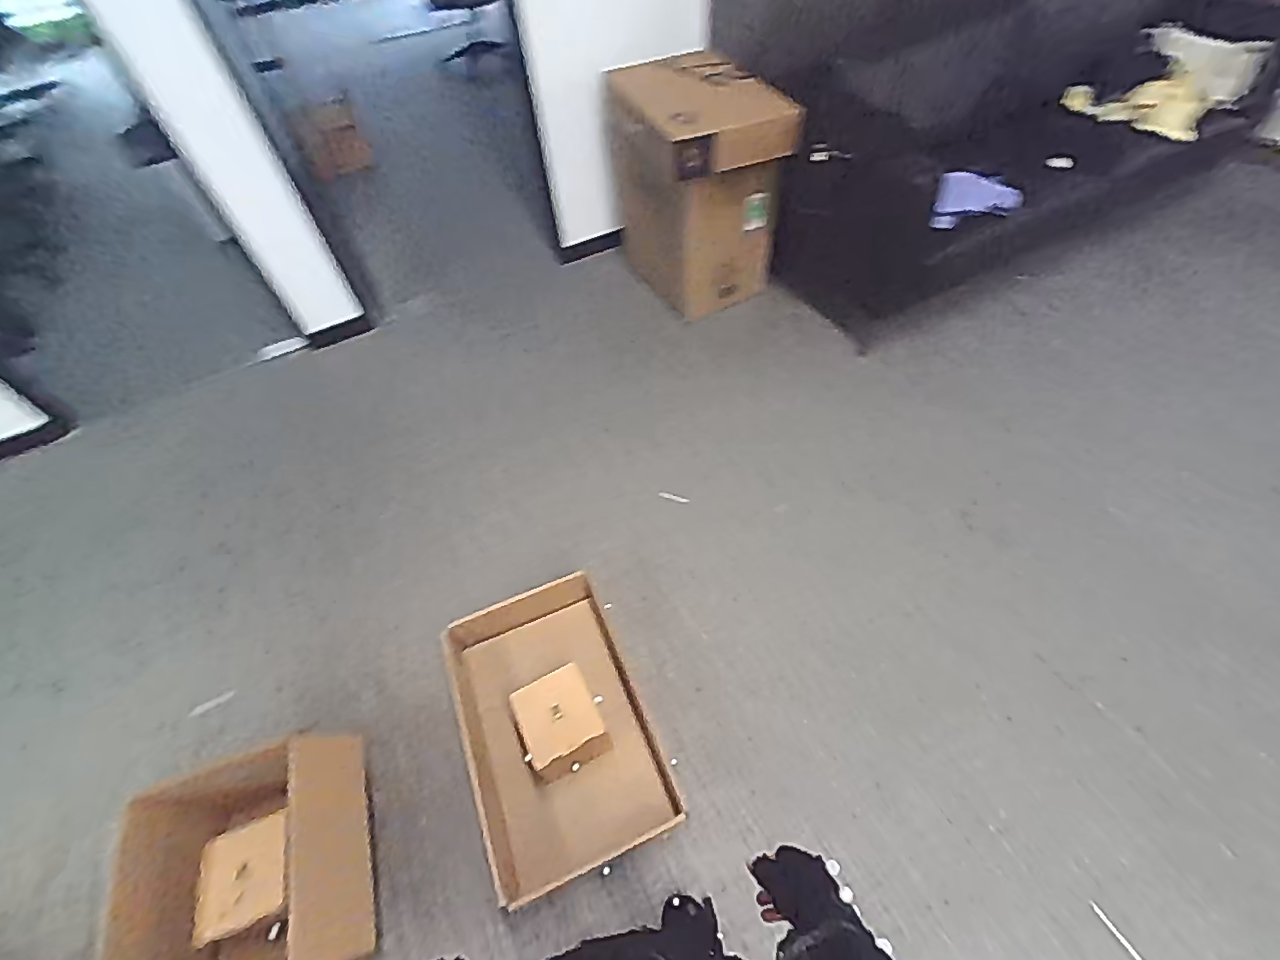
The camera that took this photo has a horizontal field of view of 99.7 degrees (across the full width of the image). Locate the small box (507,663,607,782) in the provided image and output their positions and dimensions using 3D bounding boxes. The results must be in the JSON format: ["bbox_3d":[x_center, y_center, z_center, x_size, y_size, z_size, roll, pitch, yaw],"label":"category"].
[{"bbox_3d":[-0.188,0.565,1.253,0.168,0.176,0.179,-25,55,-15],"label":"small box"}]
